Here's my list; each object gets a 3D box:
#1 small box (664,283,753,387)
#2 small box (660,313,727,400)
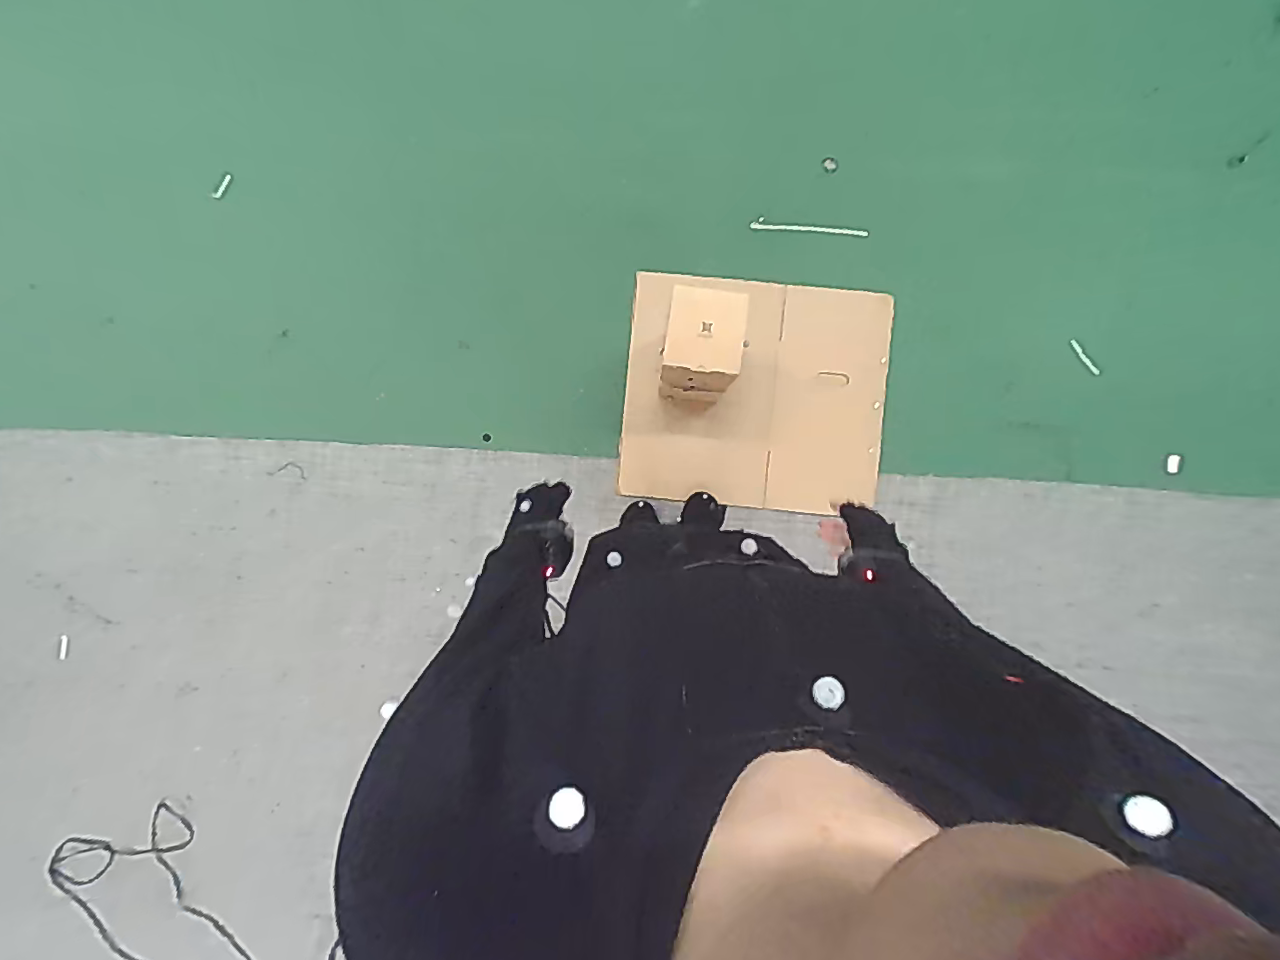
[{"bbox_3d":[0.145,-0.316,1.209,0.168,0.176,0.179,8,91,1],"label":"small box"},{"bbox_3d":[0.142,-0.305,1.371,0.168,0.176,0.179,7,89,2],"label":"small box"}]
